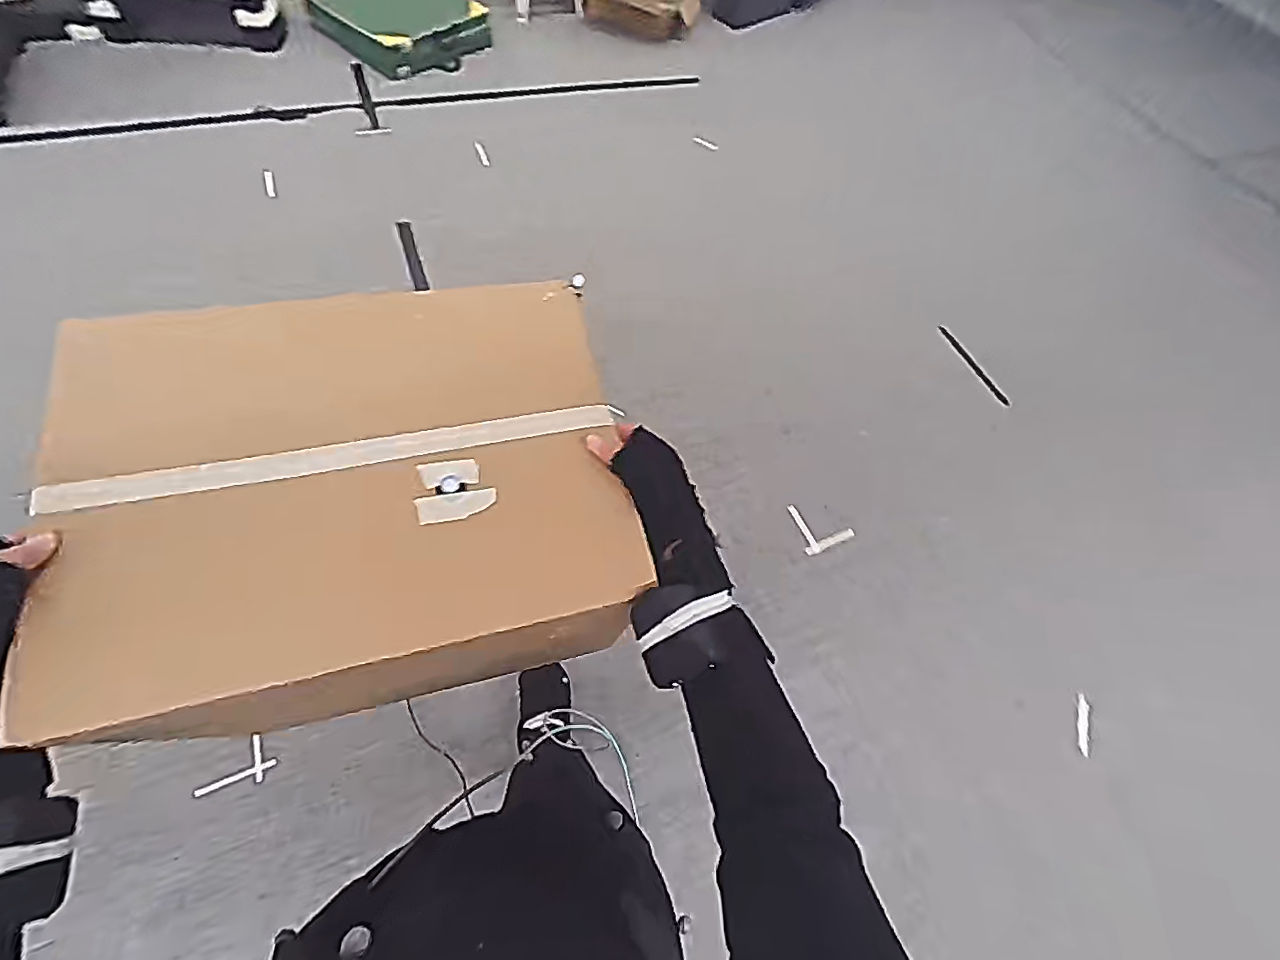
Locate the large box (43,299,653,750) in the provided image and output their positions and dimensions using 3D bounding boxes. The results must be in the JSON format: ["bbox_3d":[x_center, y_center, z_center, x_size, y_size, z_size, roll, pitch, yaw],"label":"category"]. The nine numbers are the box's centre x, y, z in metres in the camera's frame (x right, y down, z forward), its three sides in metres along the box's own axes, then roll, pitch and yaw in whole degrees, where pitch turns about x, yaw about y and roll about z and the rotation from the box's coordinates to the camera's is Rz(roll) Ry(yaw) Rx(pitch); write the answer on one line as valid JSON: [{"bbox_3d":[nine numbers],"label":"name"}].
[{"bbox_3d":[-0.241,0.054,0.564,0.408,0.320,0.320,-10,69,-15],"label":"large box"}]
